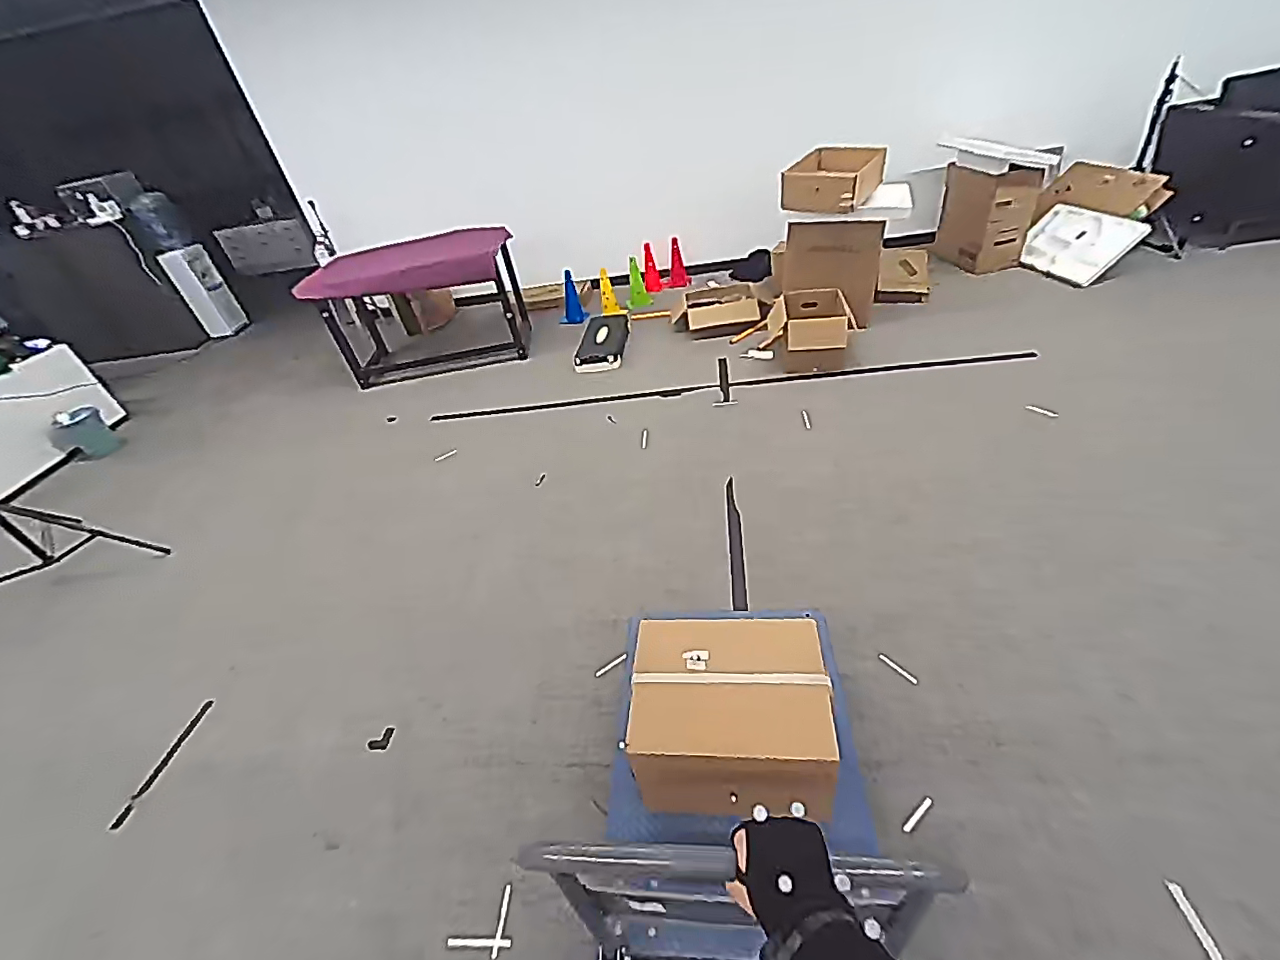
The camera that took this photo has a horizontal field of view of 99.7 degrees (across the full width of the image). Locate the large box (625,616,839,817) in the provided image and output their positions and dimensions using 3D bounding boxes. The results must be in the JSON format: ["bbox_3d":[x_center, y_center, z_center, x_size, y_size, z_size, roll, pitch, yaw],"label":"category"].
[{"bbox_3d":[0.204,0.530,1.215,0.408,0.320,0.320,-4,38,11],"label":"large box"}]
